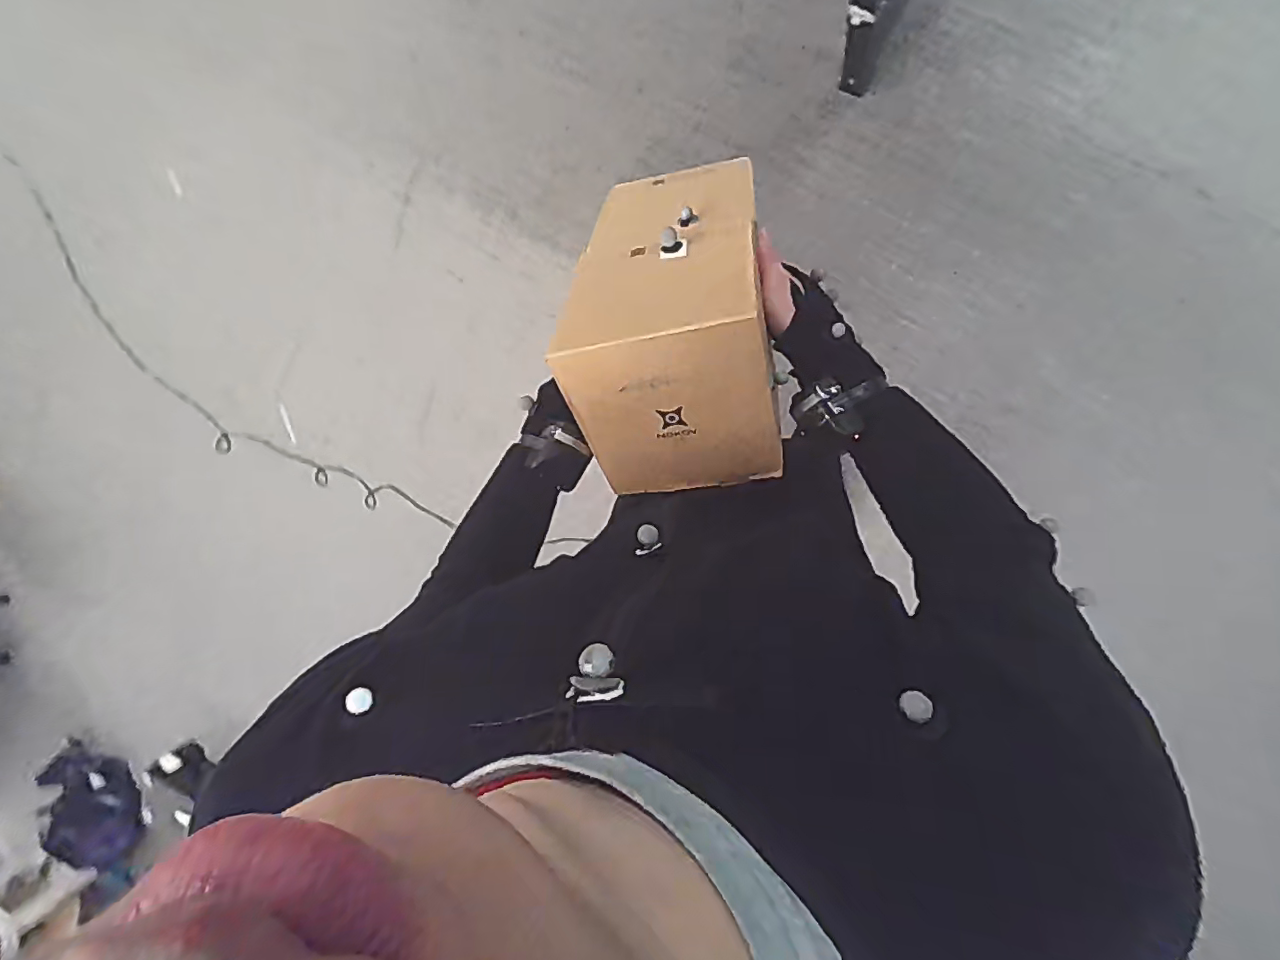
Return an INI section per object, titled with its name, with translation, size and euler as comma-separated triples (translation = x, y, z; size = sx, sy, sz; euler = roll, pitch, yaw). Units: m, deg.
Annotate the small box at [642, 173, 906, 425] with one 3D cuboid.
[small box]
translation = 0.111, -0.174, 0.515
size = 0.179, 0.168, 0.176
euler = 8, 122, -12
